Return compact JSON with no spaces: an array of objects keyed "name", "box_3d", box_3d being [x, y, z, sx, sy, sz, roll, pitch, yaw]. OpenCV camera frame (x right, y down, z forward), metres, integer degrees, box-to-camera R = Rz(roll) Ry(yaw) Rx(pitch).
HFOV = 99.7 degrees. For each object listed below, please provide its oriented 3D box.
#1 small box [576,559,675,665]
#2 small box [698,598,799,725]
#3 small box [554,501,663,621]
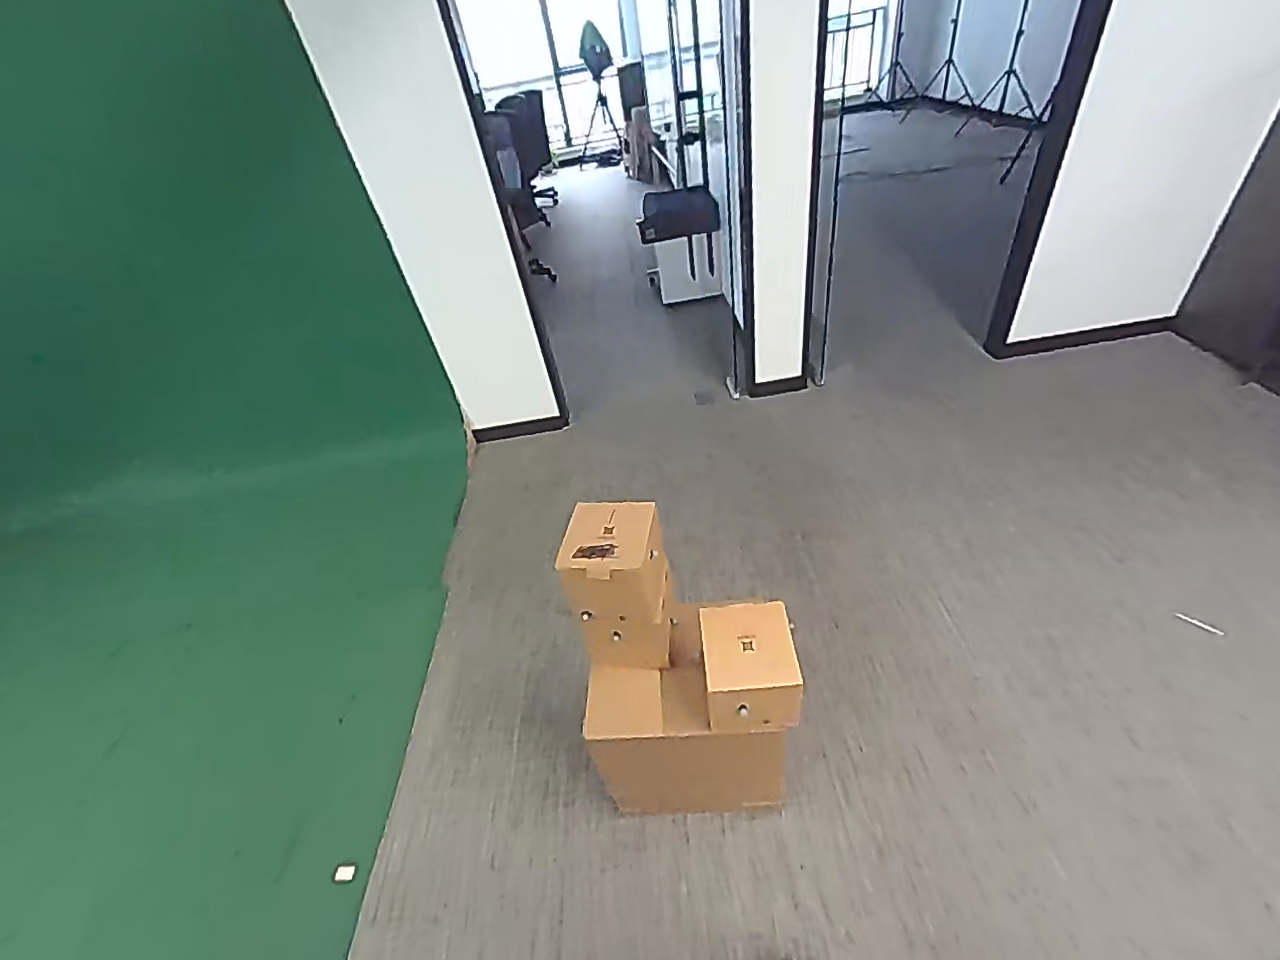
[{"name":"small box","box_3d":[-0.024,0.287,1.180,0.179,0.176,0.168,-1,41,10]},{"name":"small box","box_3d":[0.206,0.356,1.046,0.168,0.176,0.179,-7,40,5]},{"name":"small box","box_3d":[-0.052,0.162,1.076,0.168,0.176,0.179,-1,40,12]}]
